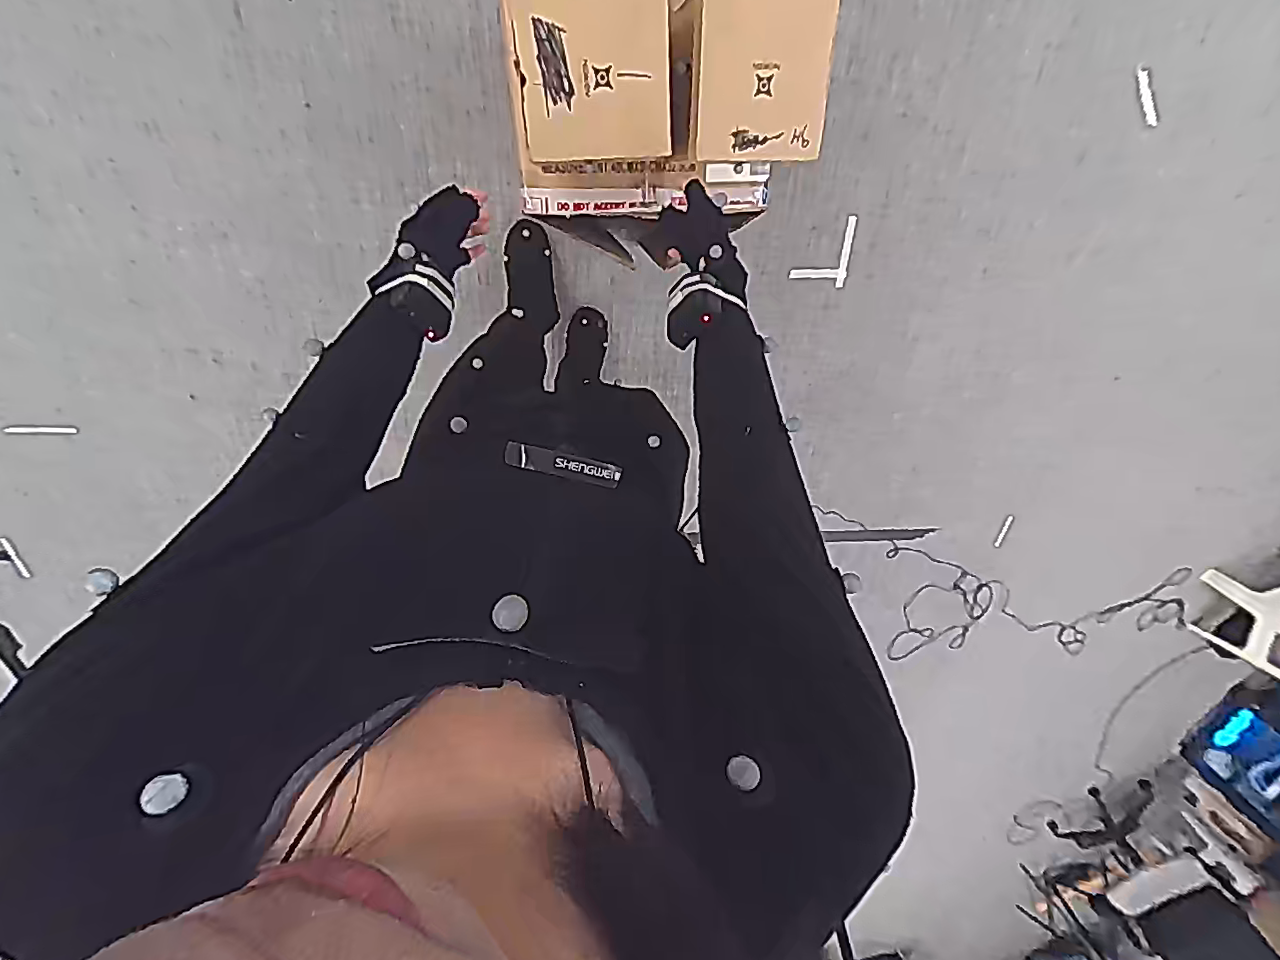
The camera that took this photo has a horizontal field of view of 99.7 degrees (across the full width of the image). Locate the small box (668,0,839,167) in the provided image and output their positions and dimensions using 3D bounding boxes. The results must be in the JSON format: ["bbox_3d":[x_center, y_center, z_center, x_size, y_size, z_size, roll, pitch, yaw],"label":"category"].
[{"bbox_3d":[0.133,-0.518,0.711,0.168,0.176,0.179,-5,119,-9],"label":"small box"}]

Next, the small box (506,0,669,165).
[{"bbox_3d":[-0.063,-0.500,0.686,0.179,0.176,0.168,-6,120,-5],"label":"small box"}]
